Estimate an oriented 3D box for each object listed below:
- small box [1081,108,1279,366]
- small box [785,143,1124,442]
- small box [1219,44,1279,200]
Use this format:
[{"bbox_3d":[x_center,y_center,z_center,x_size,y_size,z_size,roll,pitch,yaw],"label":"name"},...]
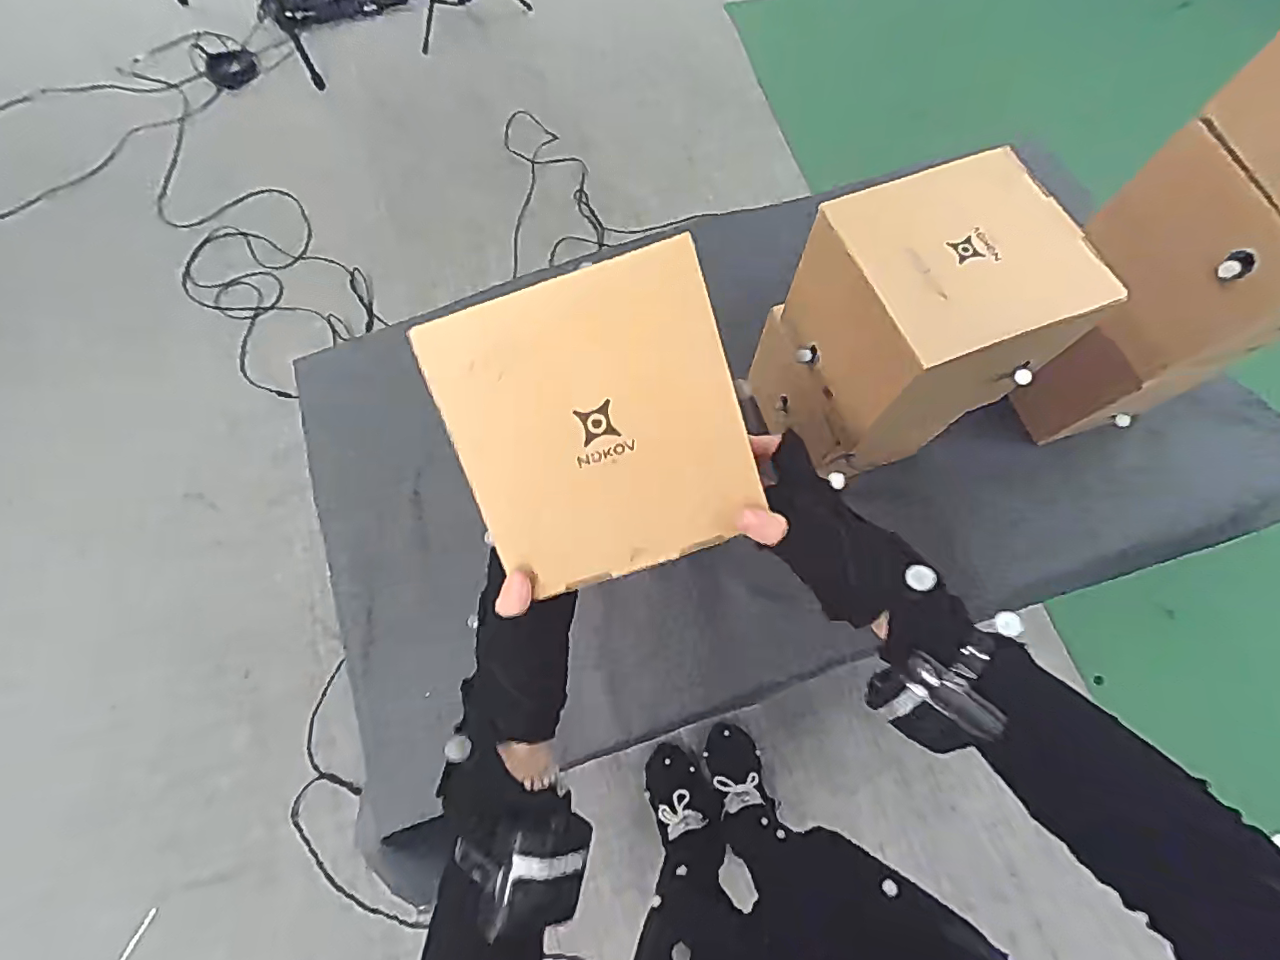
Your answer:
[{"bbox_3d":[0.572,-0.226,0.510,0.168,0.176,0.179,-15,72,-3],"label":"small box"},{"bbox_3d":[0.259,-0.158,0.497,0.179,0.176,0.168,-19,72,-4],"label":"small box"},{"bbox_3d":[0.567,-0.275,0.354,0.168,0.176,0.179,-13,72,-2],"label":"small box"}]
